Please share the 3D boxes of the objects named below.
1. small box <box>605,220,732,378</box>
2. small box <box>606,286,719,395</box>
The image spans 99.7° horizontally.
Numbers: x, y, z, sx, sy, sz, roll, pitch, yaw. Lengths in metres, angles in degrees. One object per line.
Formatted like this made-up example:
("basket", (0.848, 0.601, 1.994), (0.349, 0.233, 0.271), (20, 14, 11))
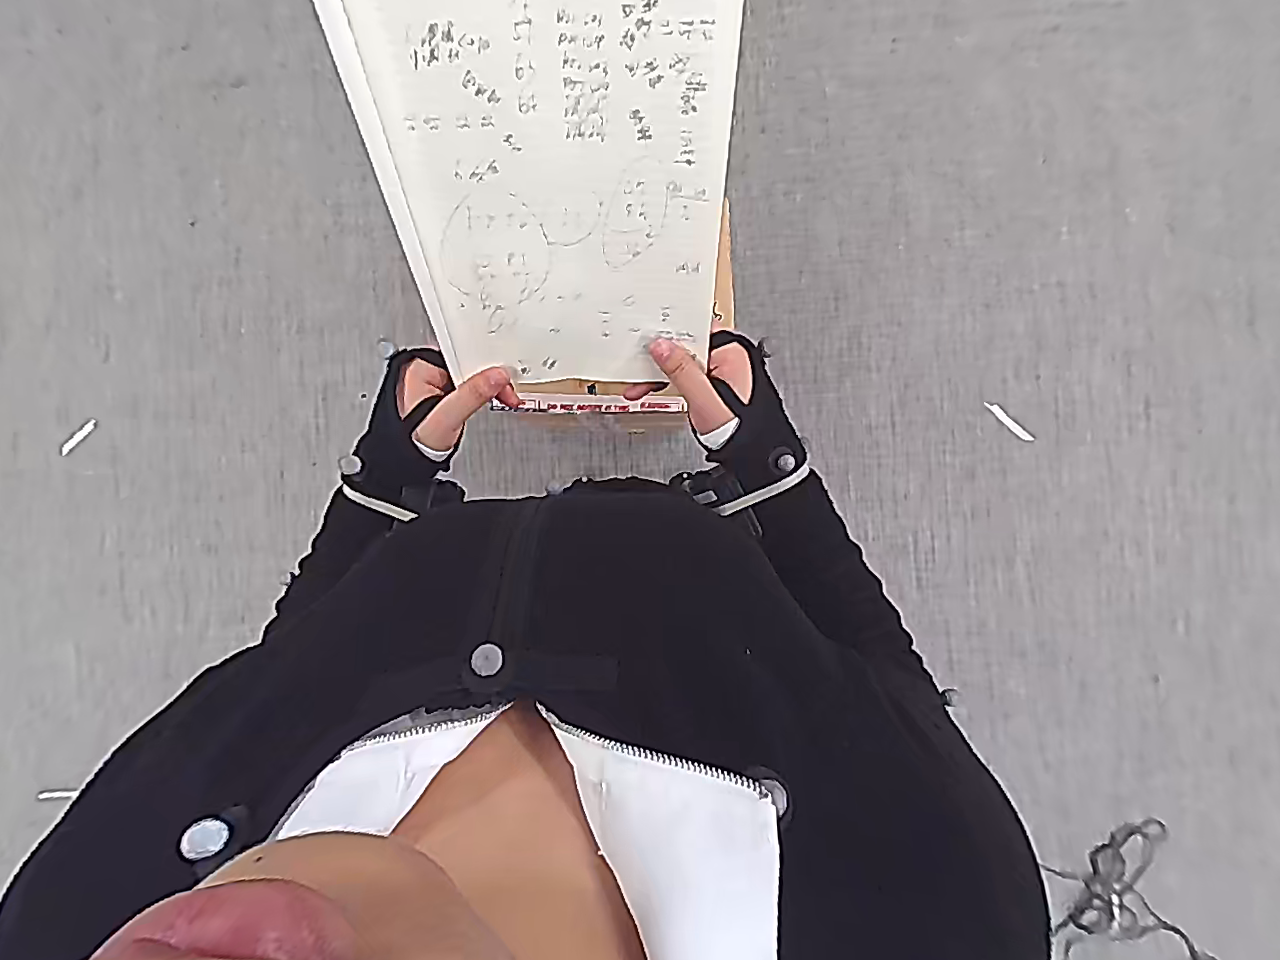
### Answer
("small box", (0.035, -0.253, 0.788), (0.168, 0.176, 0.179), (-3, 91, -1))
("small box", (0.035, -0.247, 0.952), (0.179, 0.176, 0.168), (-5, 91, 0))
